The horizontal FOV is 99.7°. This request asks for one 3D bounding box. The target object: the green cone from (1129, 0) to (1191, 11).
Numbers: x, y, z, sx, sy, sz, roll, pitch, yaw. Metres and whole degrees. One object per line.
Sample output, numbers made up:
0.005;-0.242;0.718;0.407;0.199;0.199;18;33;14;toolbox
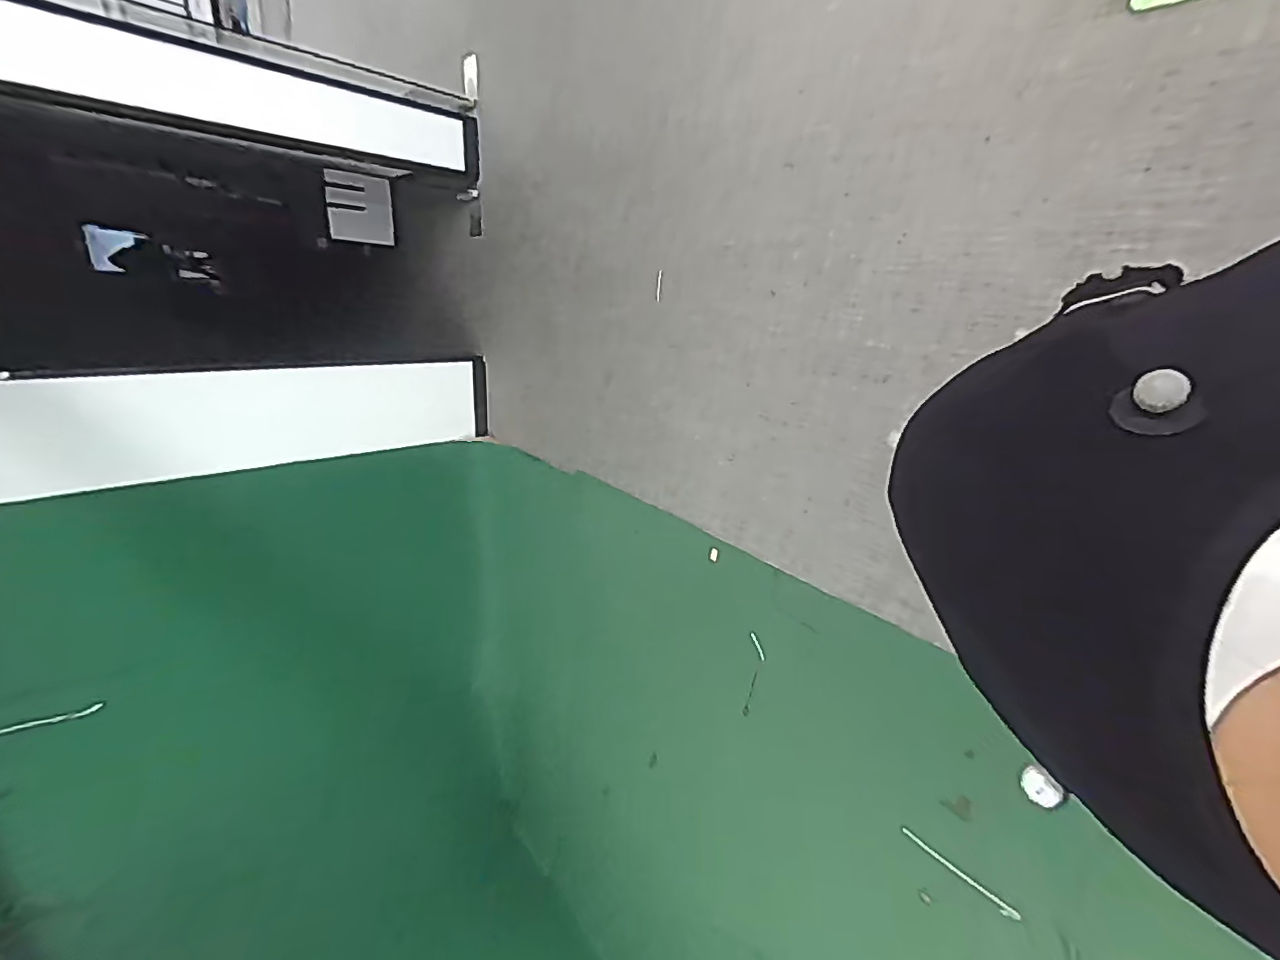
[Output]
0.866;-0.911;0.809;0.202;0.368;0.200;21;116;43;green cone
